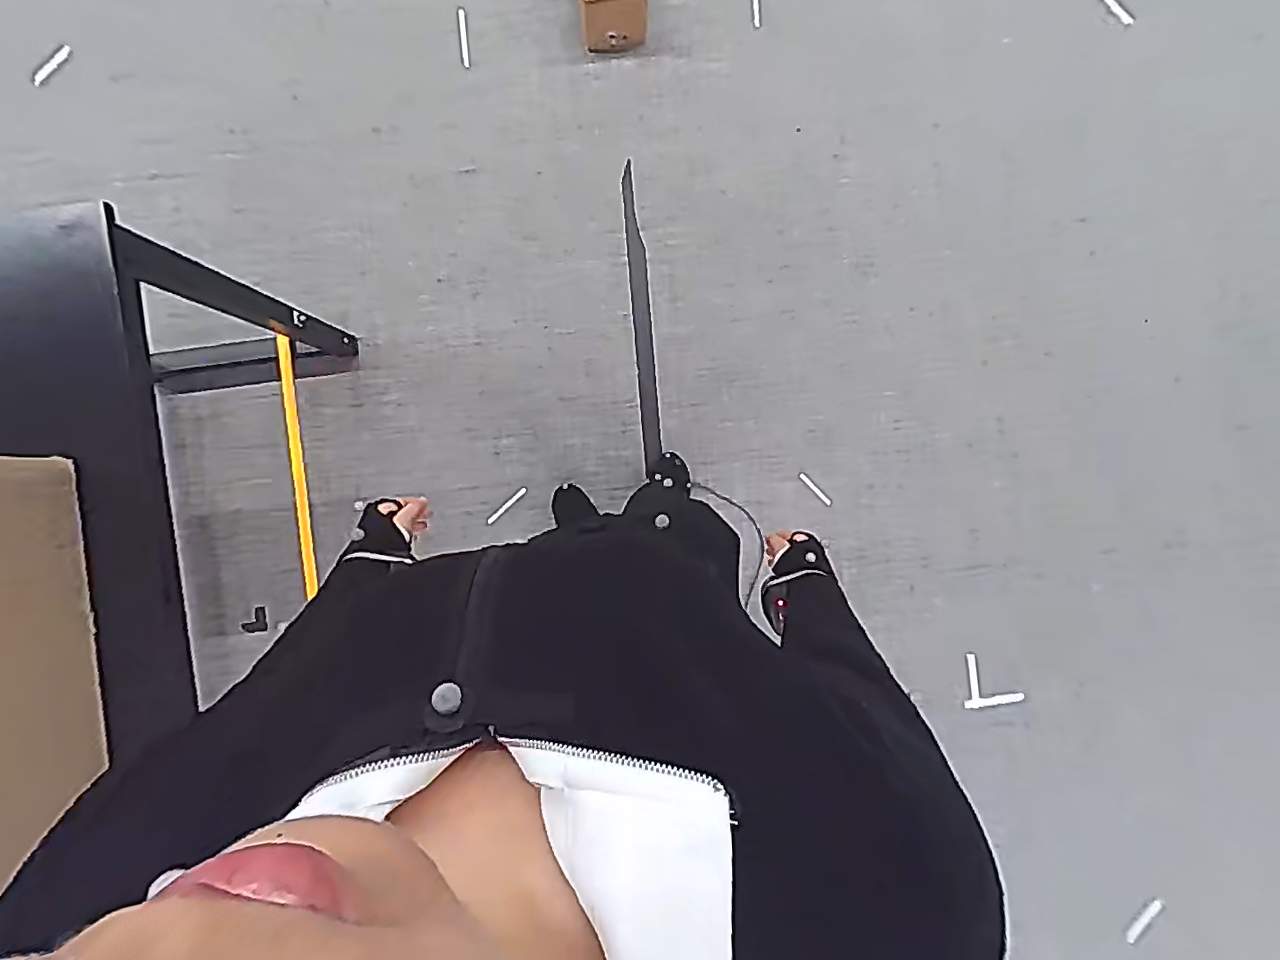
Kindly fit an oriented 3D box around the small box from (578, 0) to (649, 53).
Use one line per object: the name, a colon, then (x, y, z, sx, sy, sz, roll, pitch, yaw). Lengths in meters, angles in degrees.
small box: (-0.076, -1.253, 1.386, 0.168, 0.176, 0.179, -11, 93, -1)
